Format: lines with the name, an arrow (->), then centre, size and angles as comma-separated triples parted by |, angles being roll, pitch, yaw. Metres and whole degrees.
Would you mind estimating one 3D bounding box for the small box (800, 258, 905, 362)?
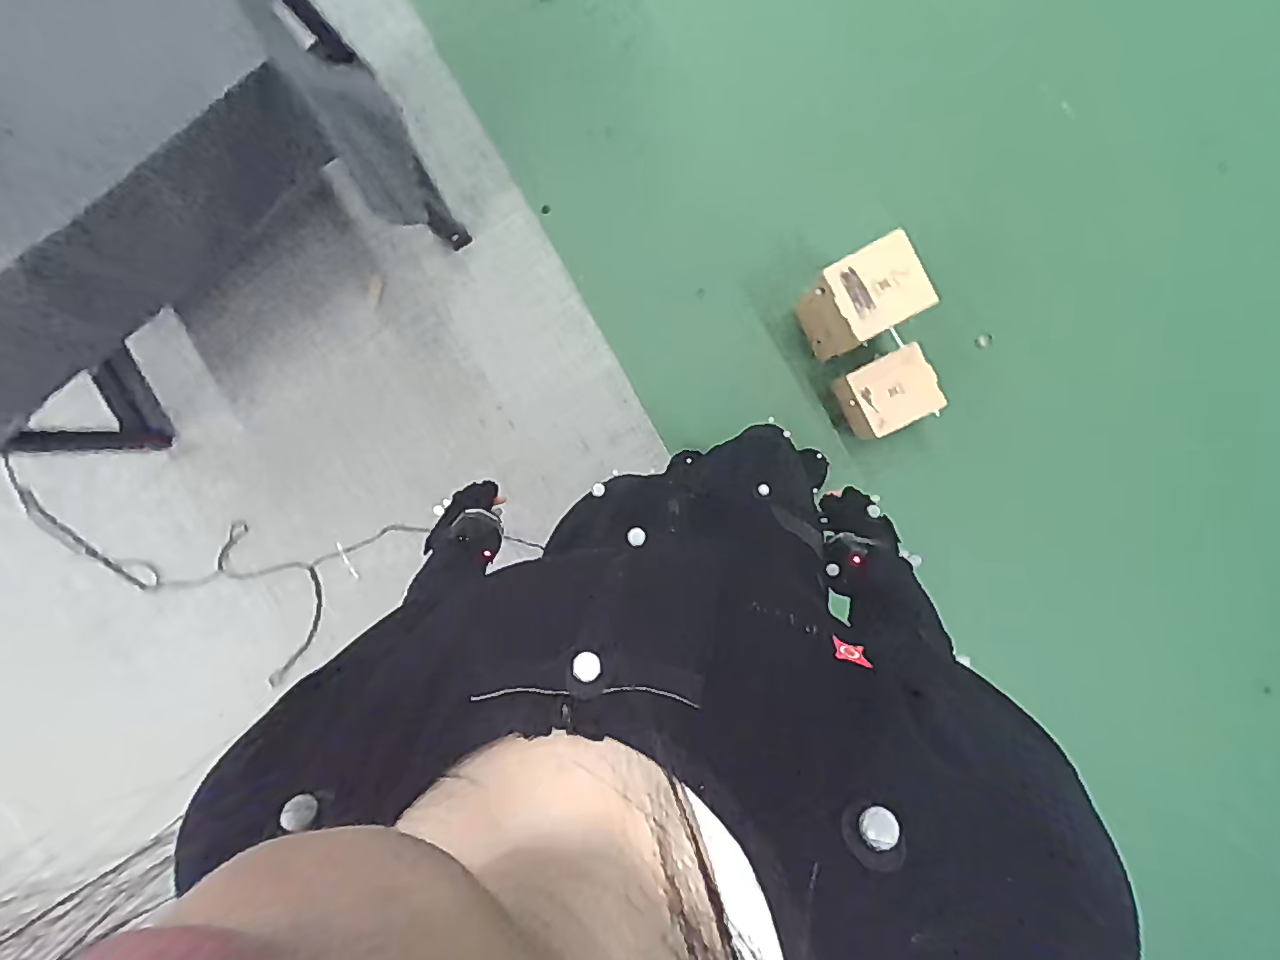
small box -> 0.507, -0.405, 1.326 | 0.179, 0.176, 0.168 | -25, 91, 8
